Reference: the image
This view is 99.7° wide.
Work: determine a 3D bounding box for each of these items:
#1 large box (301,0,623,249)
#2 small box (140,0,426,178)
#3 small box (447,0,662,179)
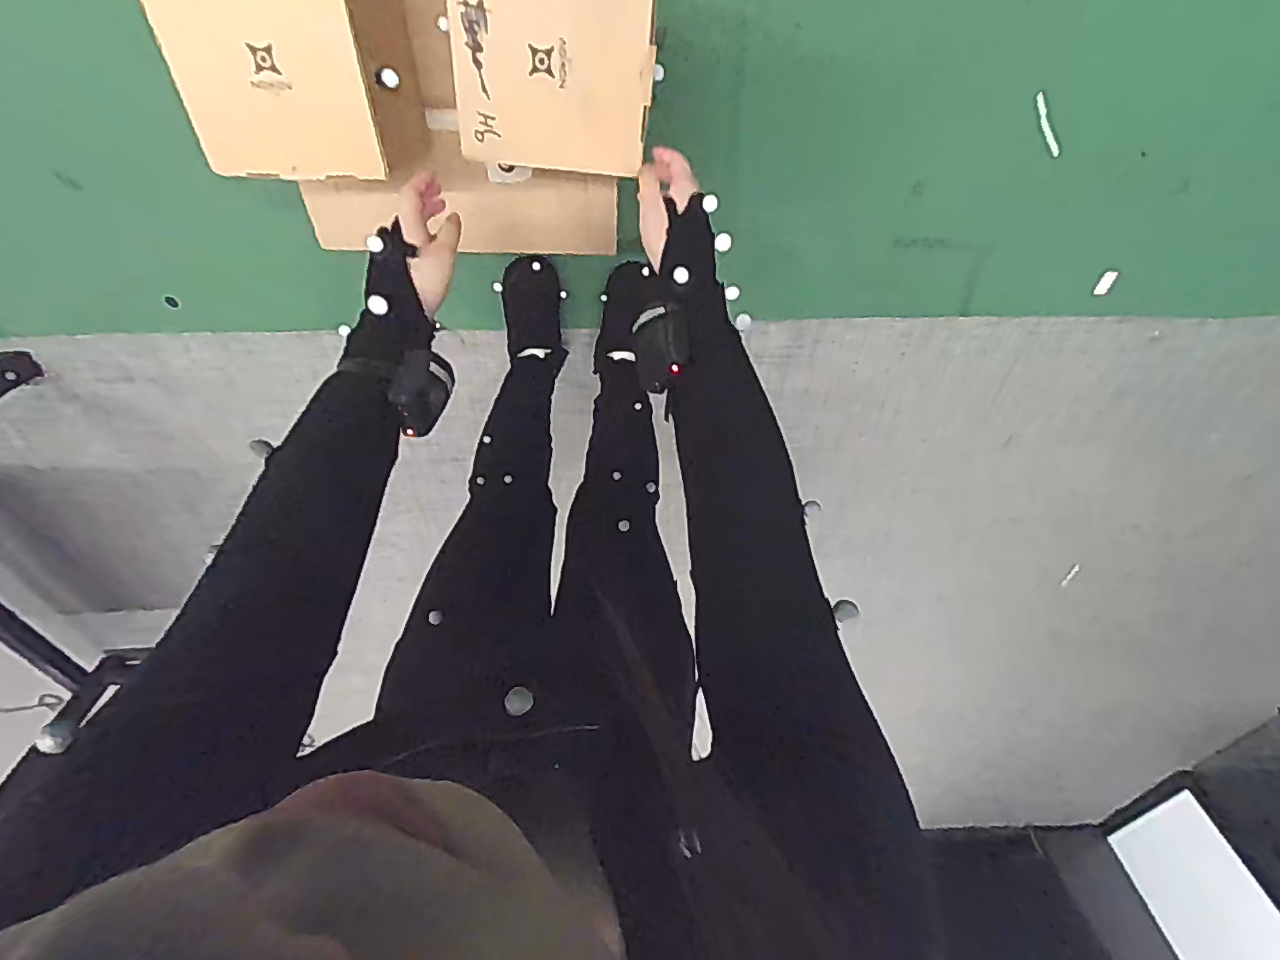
[{"bbox_3d":[-0.229,-0.527,0.747,0.408,0.320,0.320,-1,131,-3],"label":"large box"},{"bbox_3d":[-0.326,-0.409,0.525,0.168,0.176,0.179,0,130,-3],"label":"small box"},{"bbox_3d":[-0.077,-0.412,0.529,0.179,0.176,0.168,4,129,-5],"label":"small box"}]
